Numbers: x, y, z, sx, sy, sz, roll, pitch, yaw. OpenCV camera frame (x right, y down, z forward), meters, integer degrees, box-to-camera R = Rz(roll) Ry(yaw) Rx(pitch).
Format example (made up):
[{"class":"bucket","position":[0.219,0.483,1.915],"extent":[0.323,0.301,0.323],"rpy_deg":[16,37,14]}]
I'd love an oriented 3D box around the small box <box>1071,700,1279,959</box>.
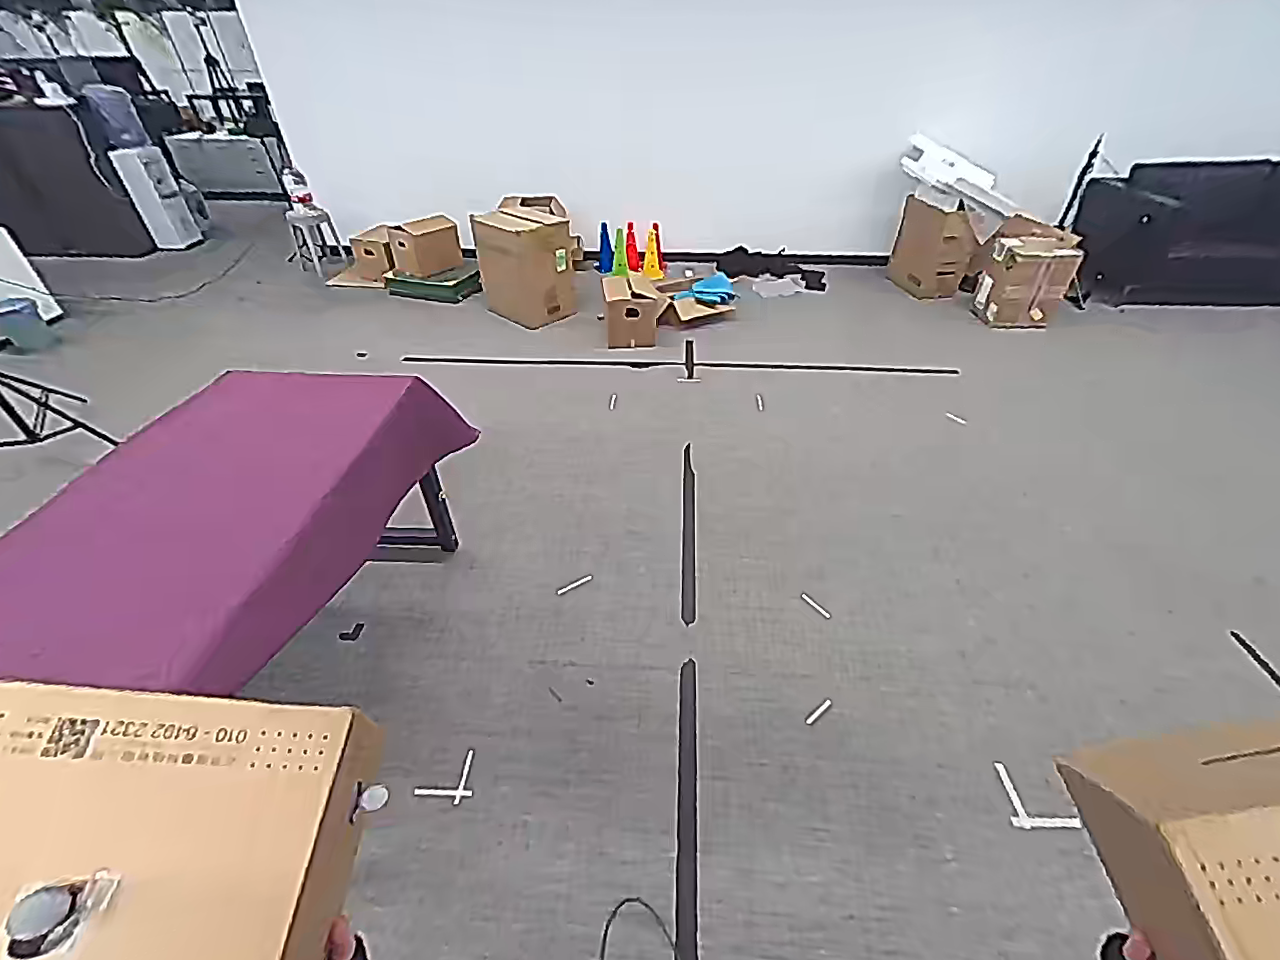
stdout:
[{"class":"small box","position":[0.357,0.214,0.258],"extent":[0.168,0.179,0.176],"rpy_deg":[-21,68,17]}]

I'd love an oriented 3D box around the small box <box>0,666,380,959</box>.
[{"class":"small box","position":[-0.241,0.195,0.261],"extent":[0.168,0.179,0.176],"rpy_deg":[12,59,-14]}]
